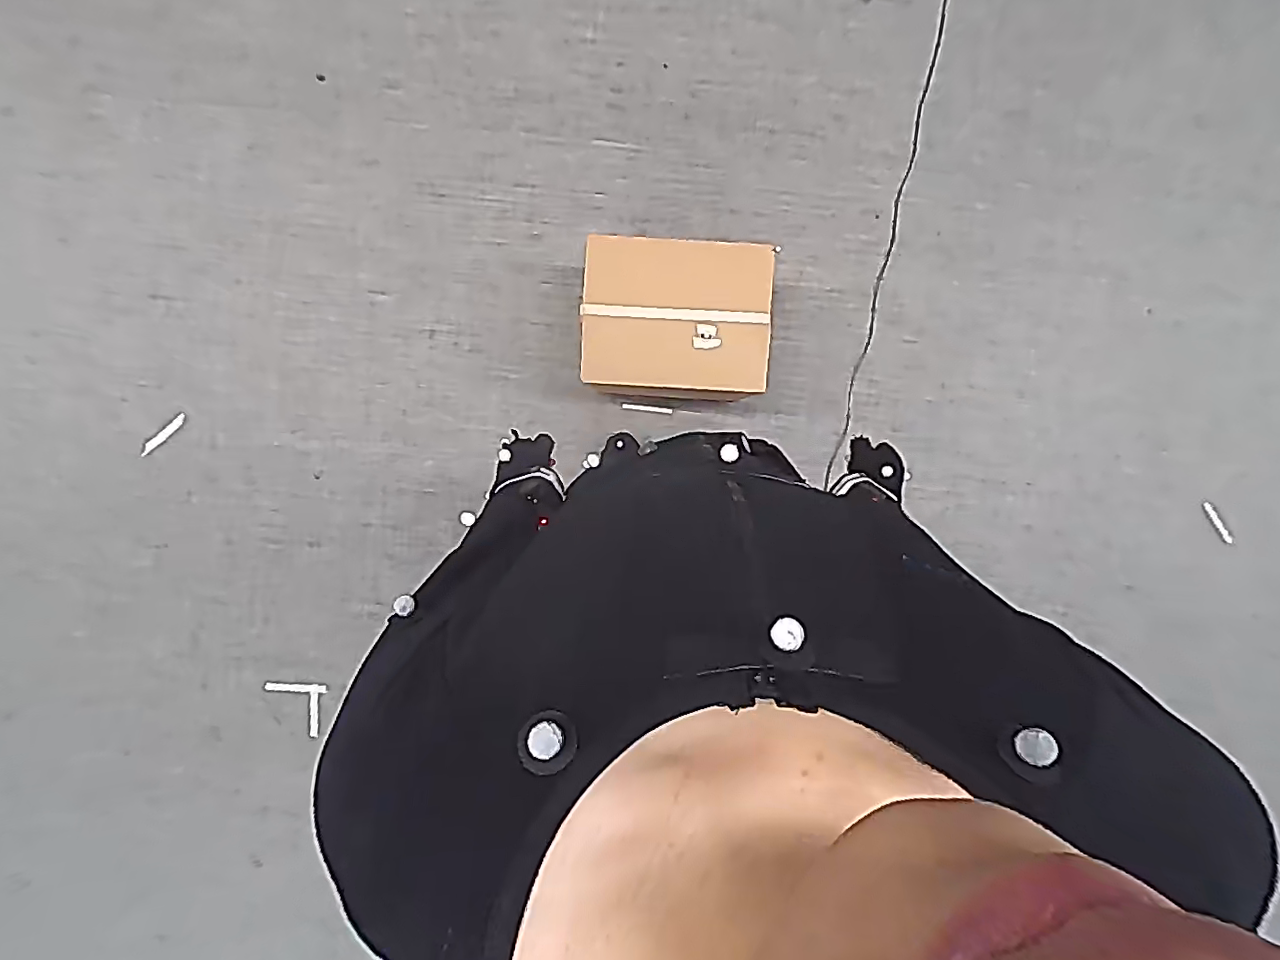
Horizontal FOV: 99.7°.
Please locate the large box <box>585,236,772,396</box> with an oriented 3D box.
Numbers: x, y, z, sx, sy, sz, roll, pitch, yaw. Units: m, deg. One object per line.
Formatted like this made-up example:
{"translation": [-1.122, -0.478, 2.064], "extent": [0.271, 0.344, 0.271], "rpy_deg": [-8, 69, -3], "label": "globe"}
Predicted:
{"translation": [0.077, -0.376, 1.320], "extent": [0.408, 0.320, 0.320], "rpy_deg": [3, 96, -1], "label": "large box"}
